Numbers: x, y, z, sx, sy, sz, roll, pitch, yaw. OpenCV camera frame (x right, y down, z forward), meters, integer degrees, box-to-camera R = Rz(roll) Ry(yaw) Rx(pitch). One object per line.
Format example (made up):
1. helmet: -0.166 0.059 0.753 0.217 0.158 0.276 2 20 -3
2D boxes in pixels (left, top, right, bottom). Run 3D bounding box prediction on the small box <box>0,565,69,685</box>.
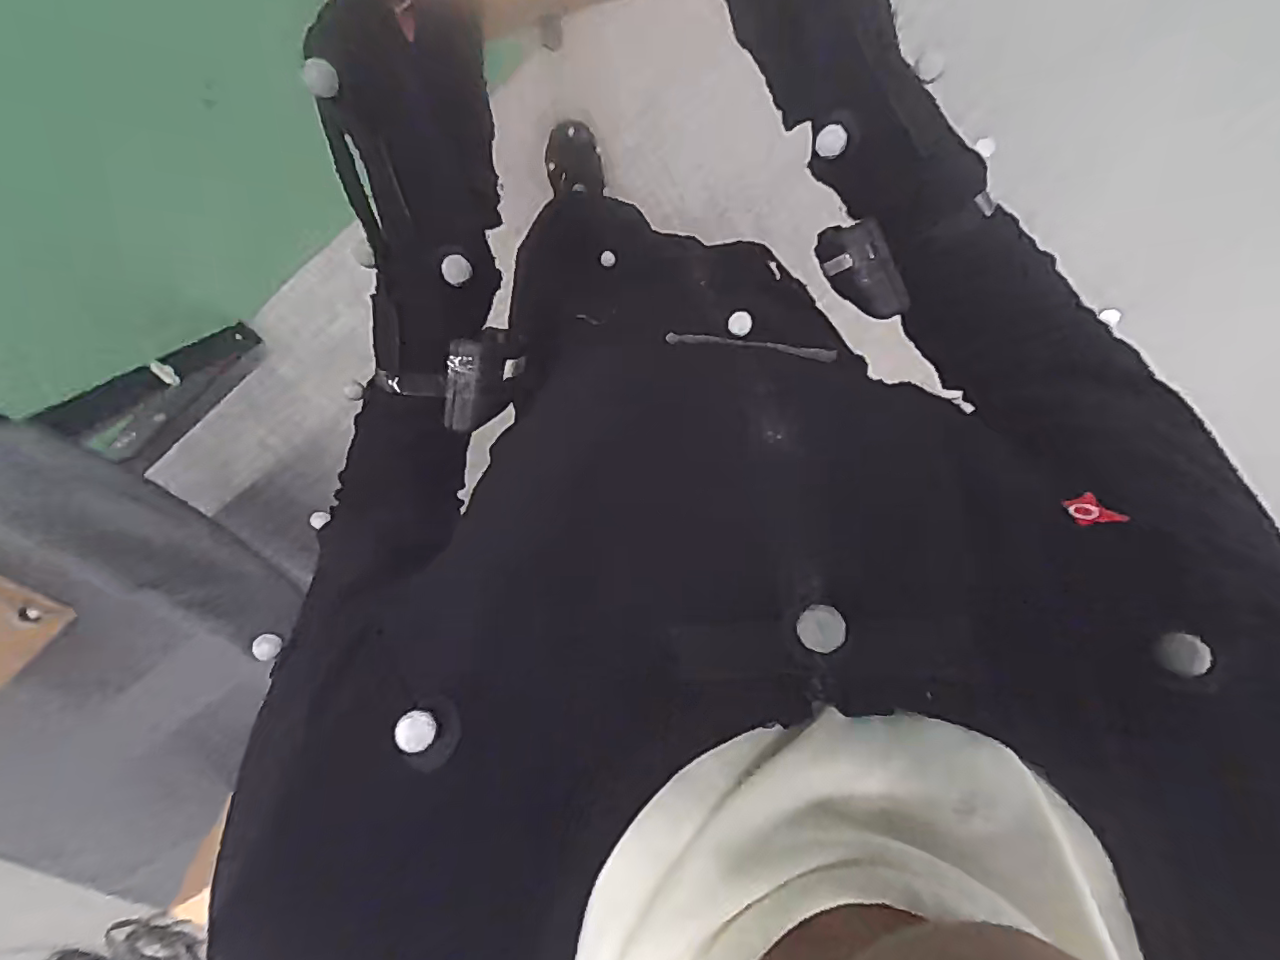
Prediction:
1. small box: -0.796 0.187 0.583 0.179 0.176 0.168 -34 121 12
